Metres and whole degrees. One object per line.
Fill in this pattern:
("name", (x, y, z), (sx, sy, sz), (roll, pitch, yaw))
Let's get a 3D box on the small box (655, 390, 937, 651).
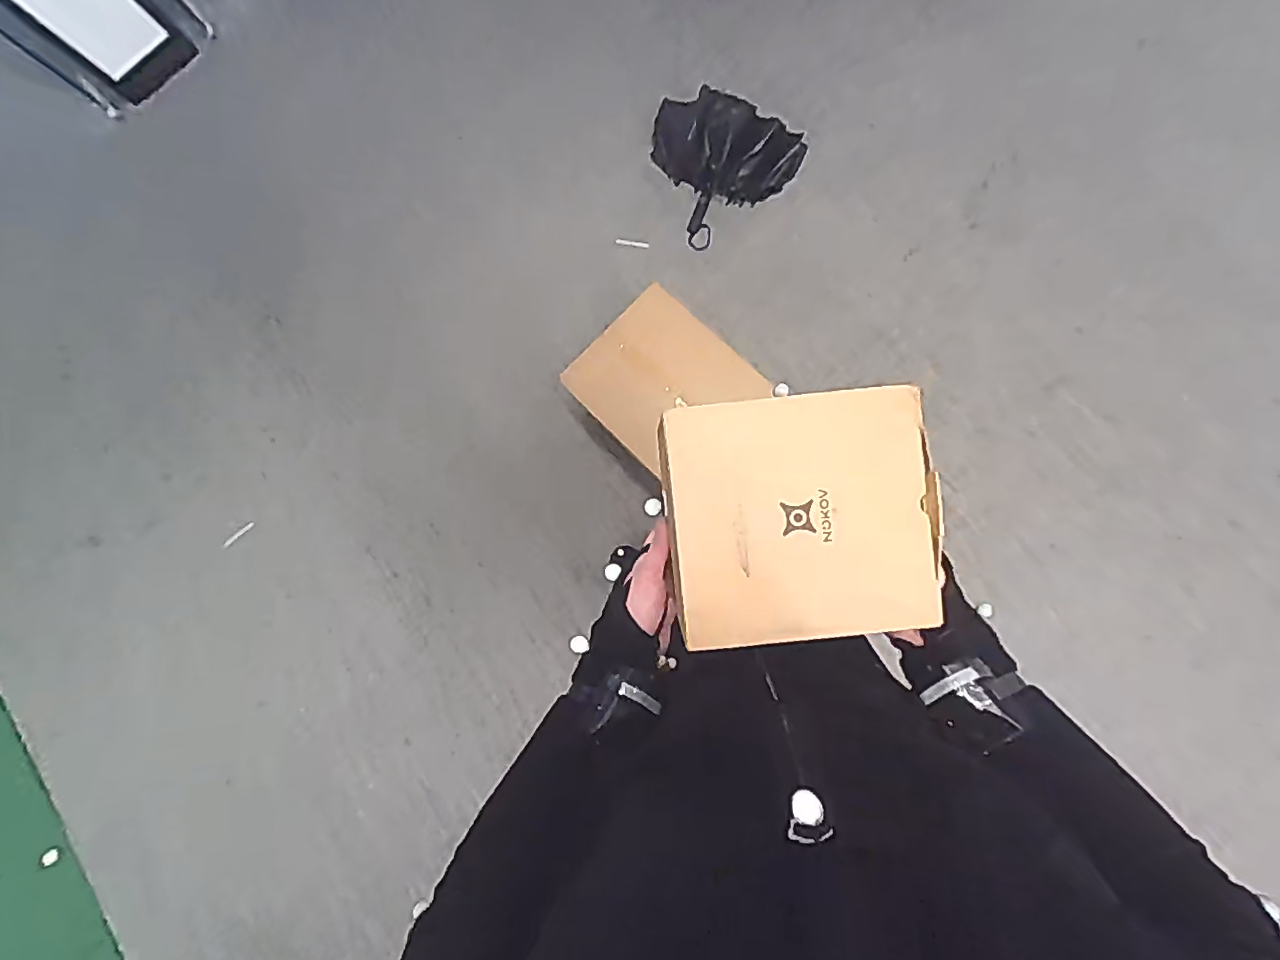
("small box", (0.107, 0.028, 0.444), (0.179, 0.176, 0.168), (-6, 88, 1))
